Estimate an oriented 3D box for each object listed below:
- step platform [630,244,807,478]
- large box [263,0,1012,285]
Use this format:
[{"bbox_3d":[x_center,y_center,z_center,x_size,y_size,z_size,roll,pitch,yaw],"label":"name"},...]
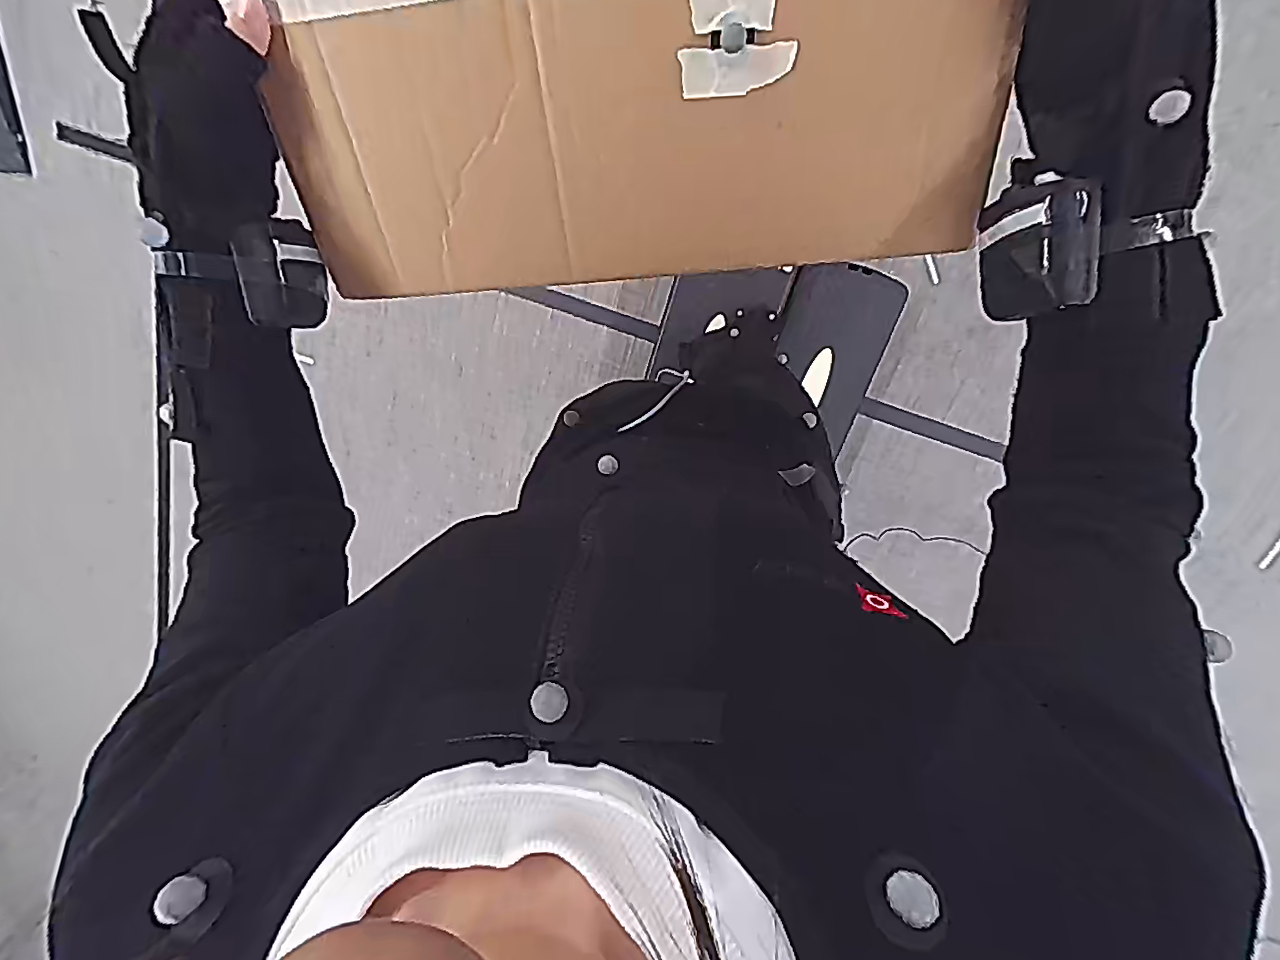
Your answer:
[{"bbox_3d":[0.192,-0.350,1.430,0.286,0.204,0.684,18,107,3],"label":"step platform"},{"bbox_3d":[-0.001,-0.354,0.395,0.408,0.320,0.320,-2,124,8],"label":"large box"}]
